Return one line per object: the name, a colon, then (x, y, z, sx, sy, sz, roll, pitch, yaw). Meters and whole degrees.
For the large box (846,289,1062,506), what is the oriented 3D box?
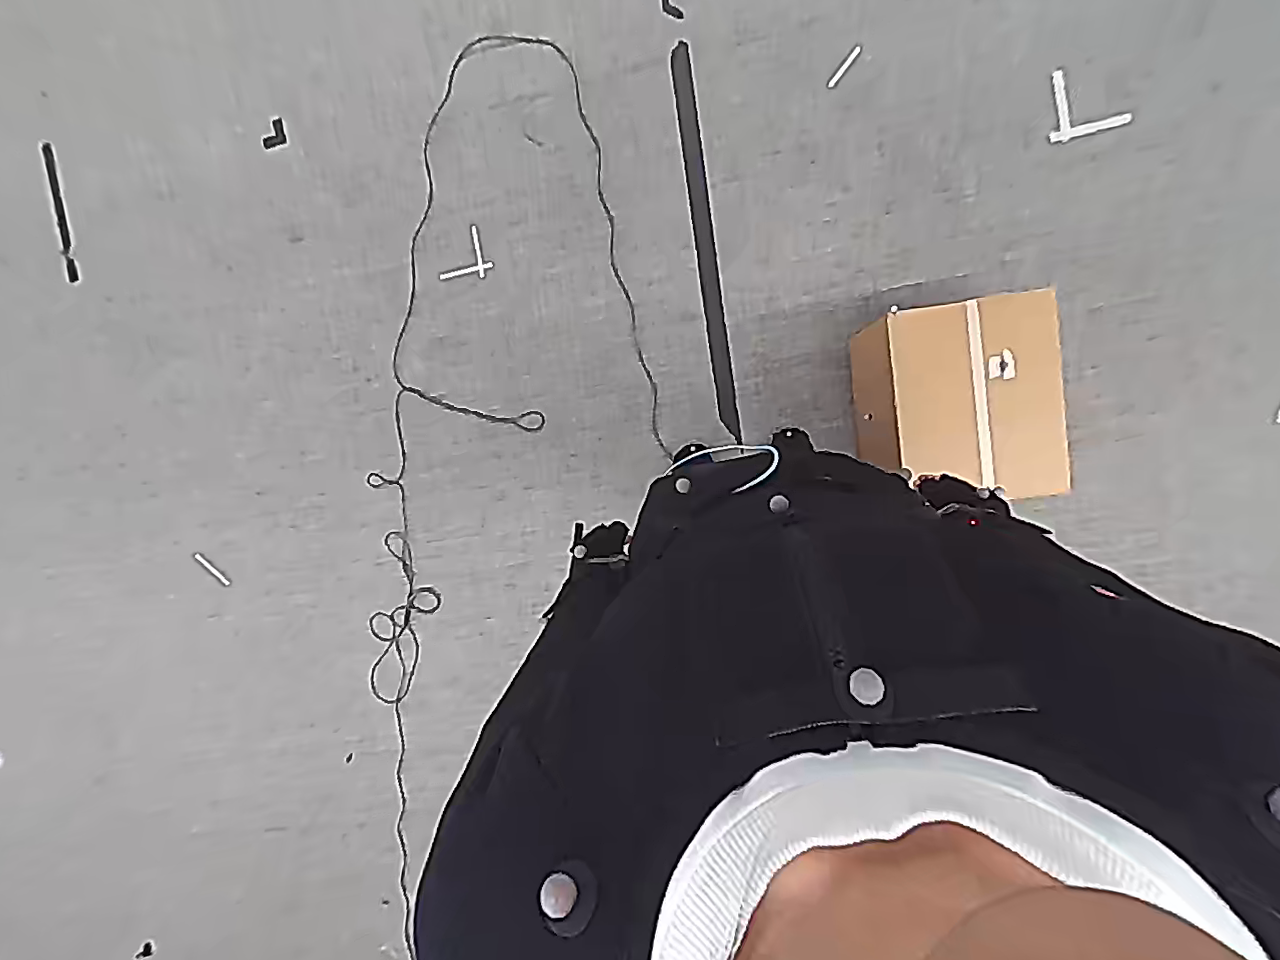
large box: (0.686, -0.171, 1.239, 0.320, 0.320, 0.408, -7, 93, 6)
